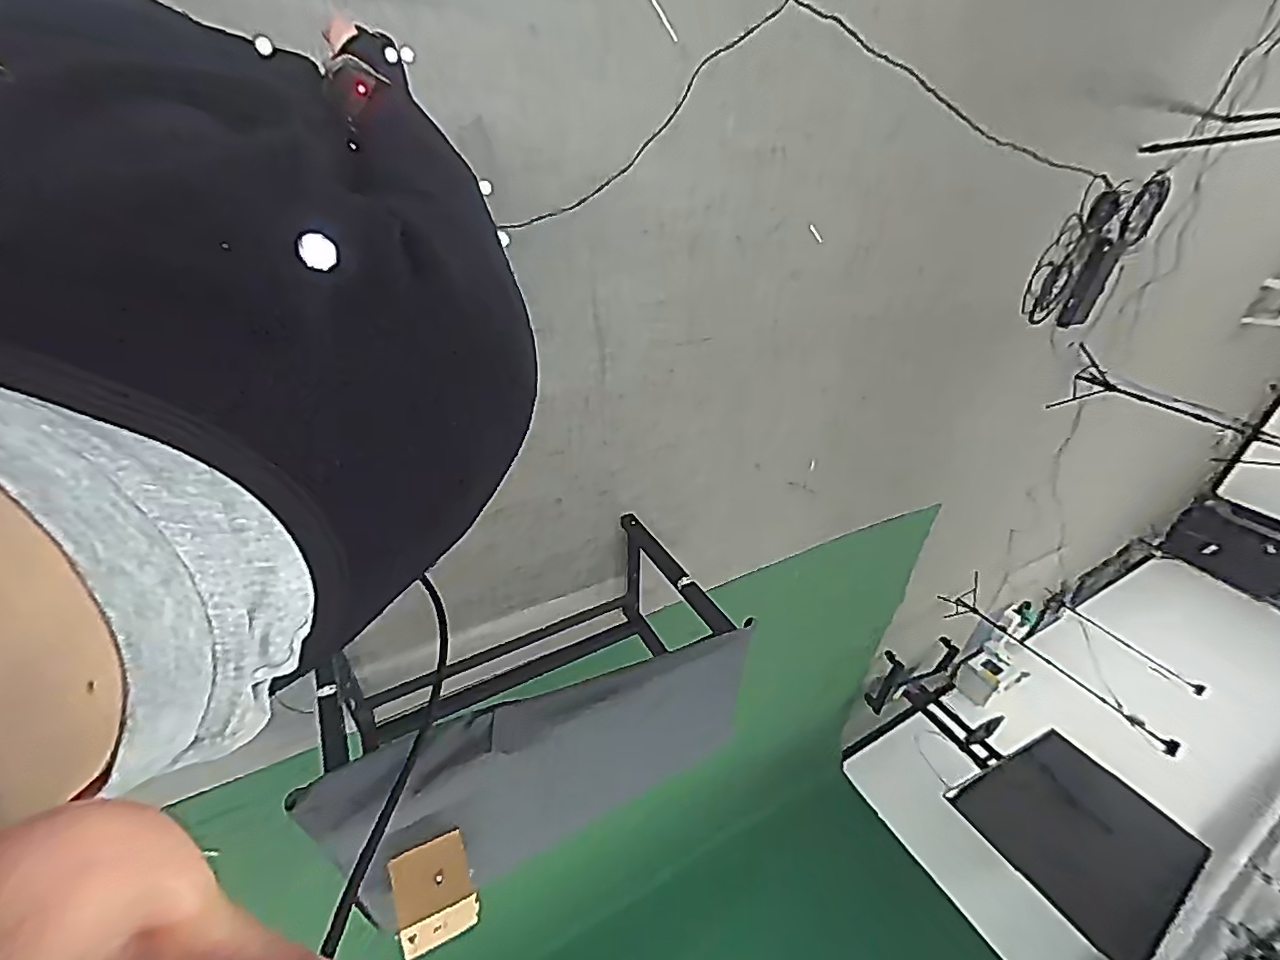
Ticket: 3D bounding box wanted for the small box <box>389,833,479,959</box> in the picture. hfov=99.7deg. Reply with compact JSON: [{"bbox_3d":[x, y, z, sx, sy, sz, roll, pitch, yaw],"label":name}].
[{"bbox_3d":[-0.522,1.046,1.370,0.179,0.176,0.168,-11,125,-30],"label":"small box"}]
